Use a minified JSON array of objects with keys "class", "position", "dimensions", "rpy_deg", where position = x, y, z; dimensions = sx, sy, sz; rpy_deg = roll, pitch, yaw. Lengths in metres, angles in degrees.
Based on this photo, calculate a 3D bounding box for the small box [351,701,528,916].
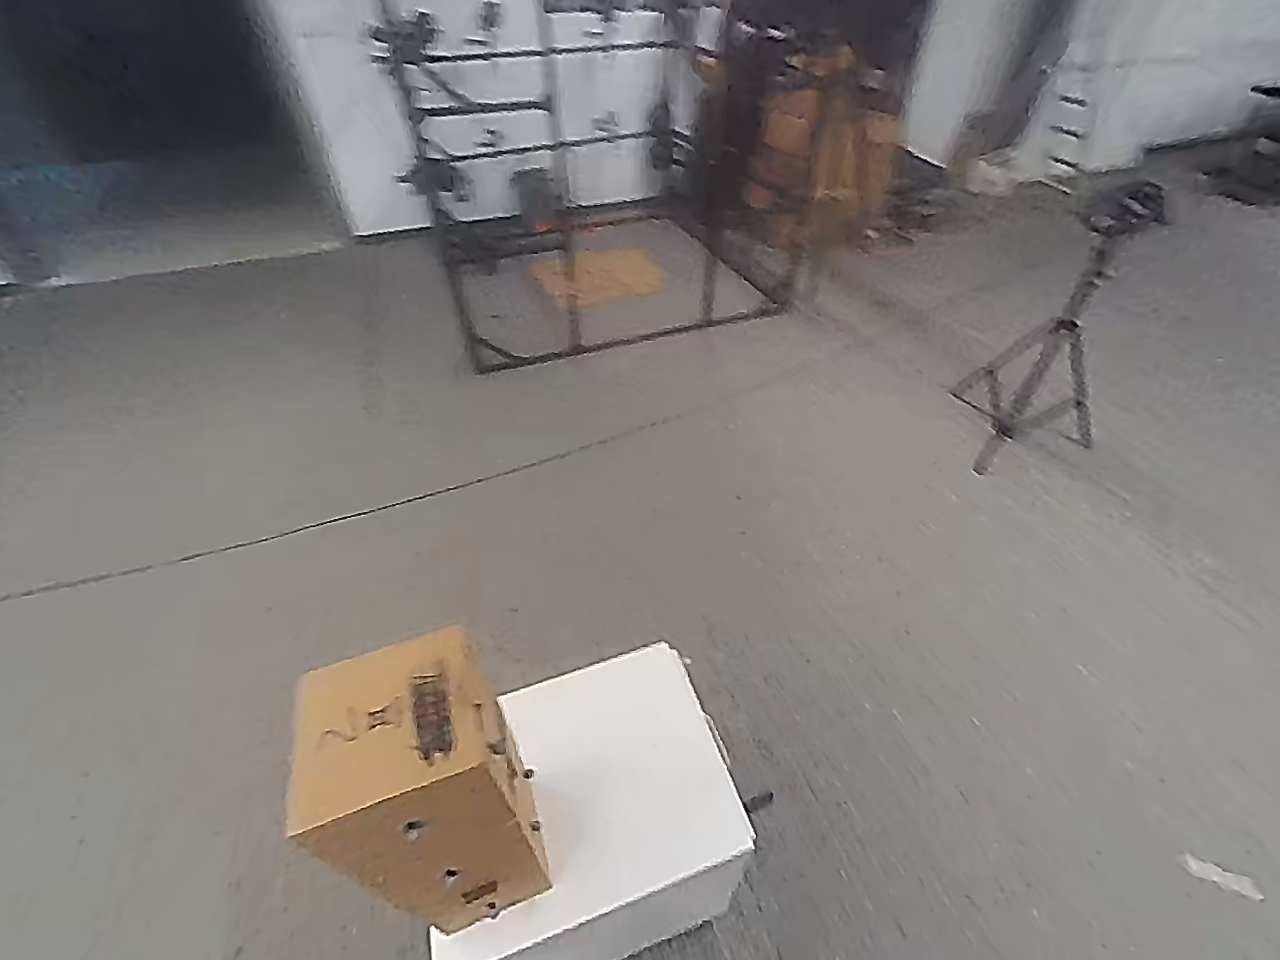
[{"class":"small box","position":[-0.250,0.424,0.702],"dimensions":[0.179,0.176,0.168],"rpy_deg":[-15,44,-13]}]

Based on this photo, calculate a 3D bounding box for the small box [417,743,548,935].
[{"class":"small box","position":[-0.246,0.540,0.818],"dimensions":[0.168,0.176,0.179],"rpy_deg":[-16,45,-14]}]
